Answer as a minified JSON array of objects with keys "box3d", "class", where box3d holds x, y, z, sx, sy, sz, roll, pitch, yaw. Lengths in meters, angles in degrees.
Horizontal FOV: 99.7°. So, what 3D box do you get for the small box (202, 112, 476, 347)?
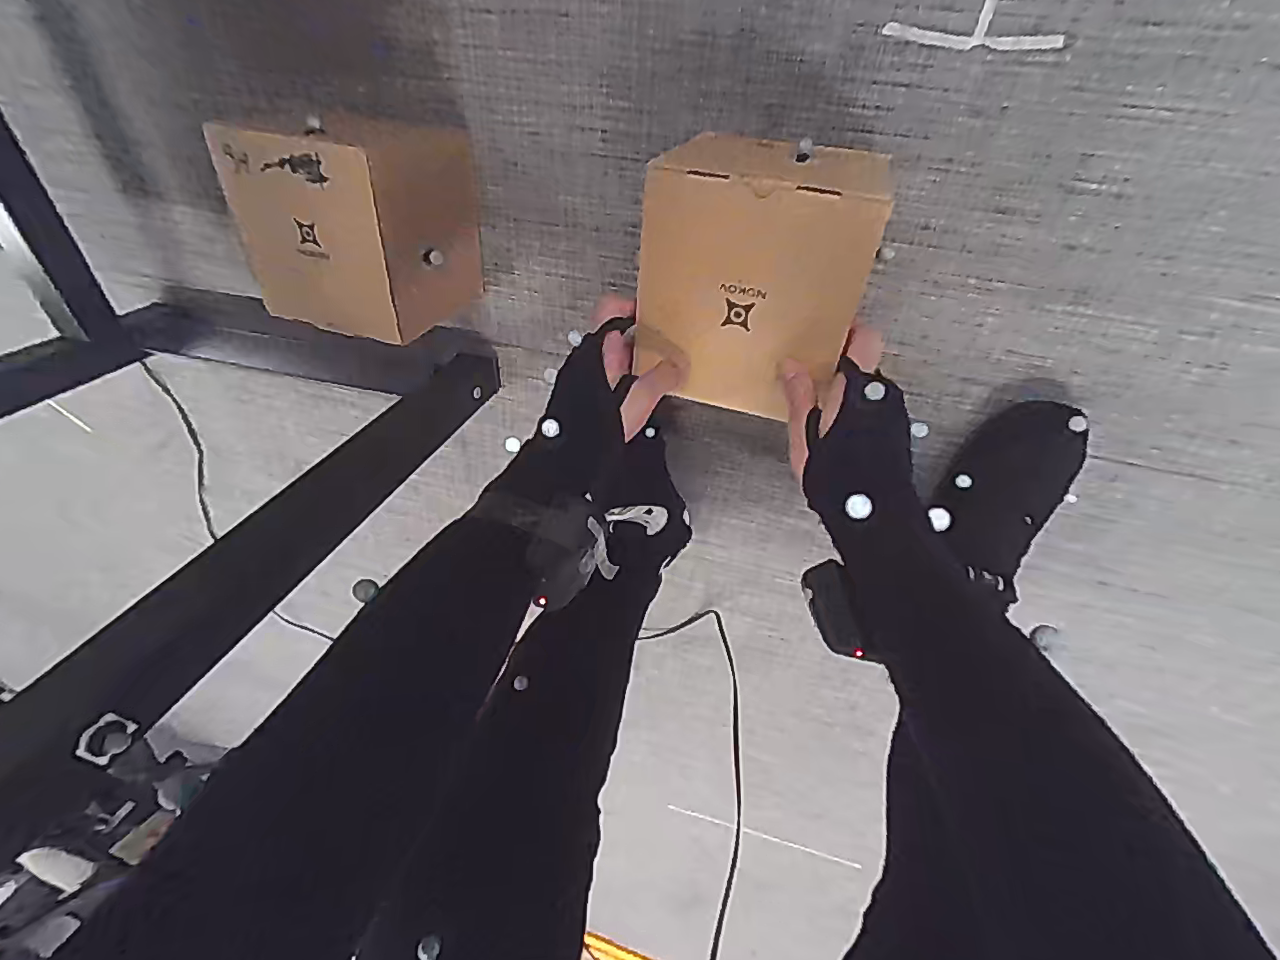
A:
[{"box3d":[-0.288,-0.268,0.569,0.168,0.176,0.179,15,129,10],"class":"small box"}]
